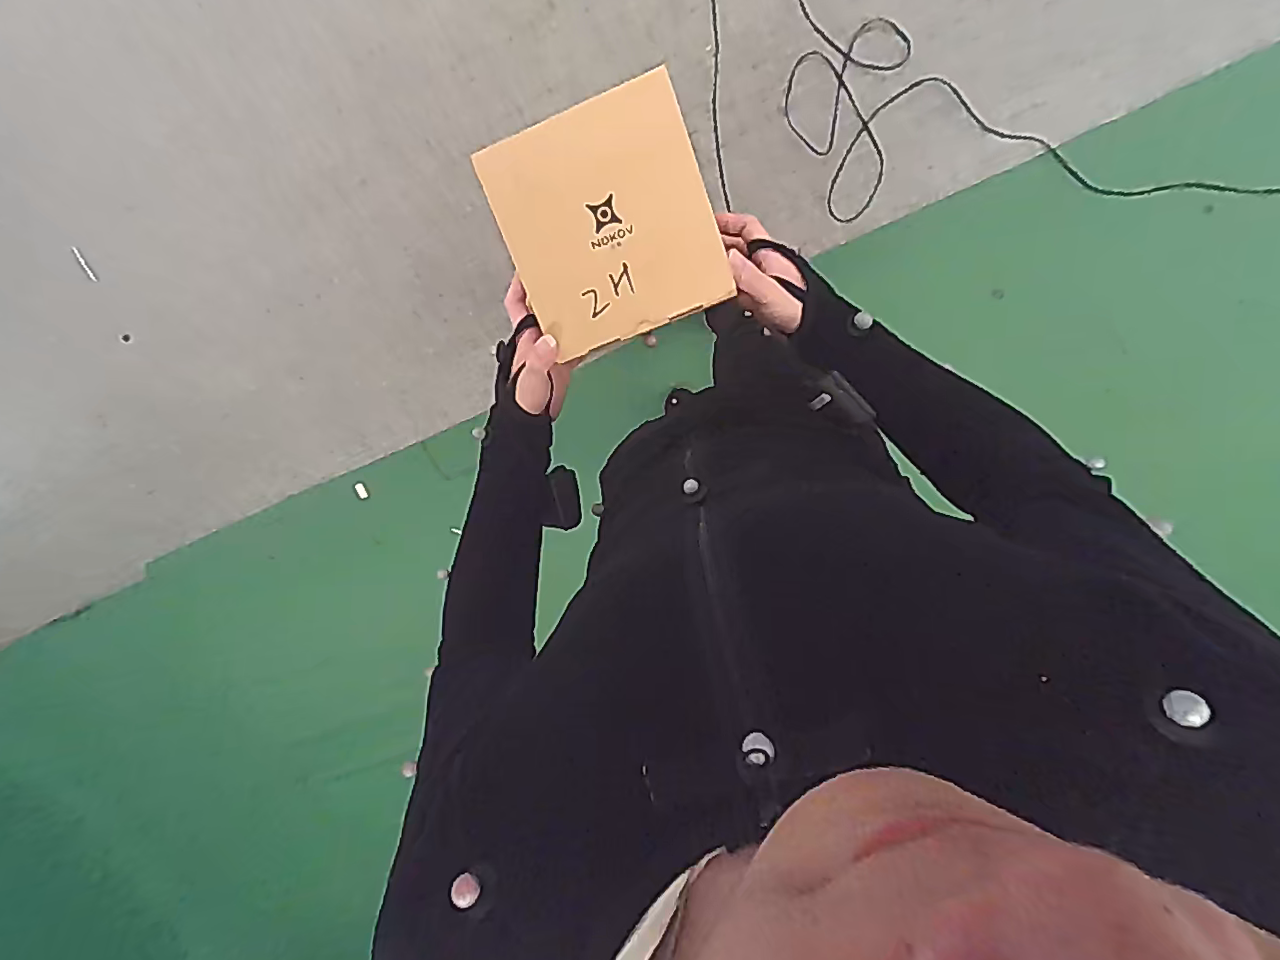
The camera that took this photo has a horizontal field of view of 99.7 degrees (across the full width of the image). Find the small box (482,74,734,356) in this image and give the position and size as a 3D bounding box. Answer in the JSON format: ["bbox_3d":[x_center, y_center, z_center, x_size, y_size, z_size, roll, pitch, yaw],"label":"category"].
[{"bbox_3d":[-0.022,-0.230,0.520,0.168,0.176,0.179,-19,104,8],"label":"small box"}]
